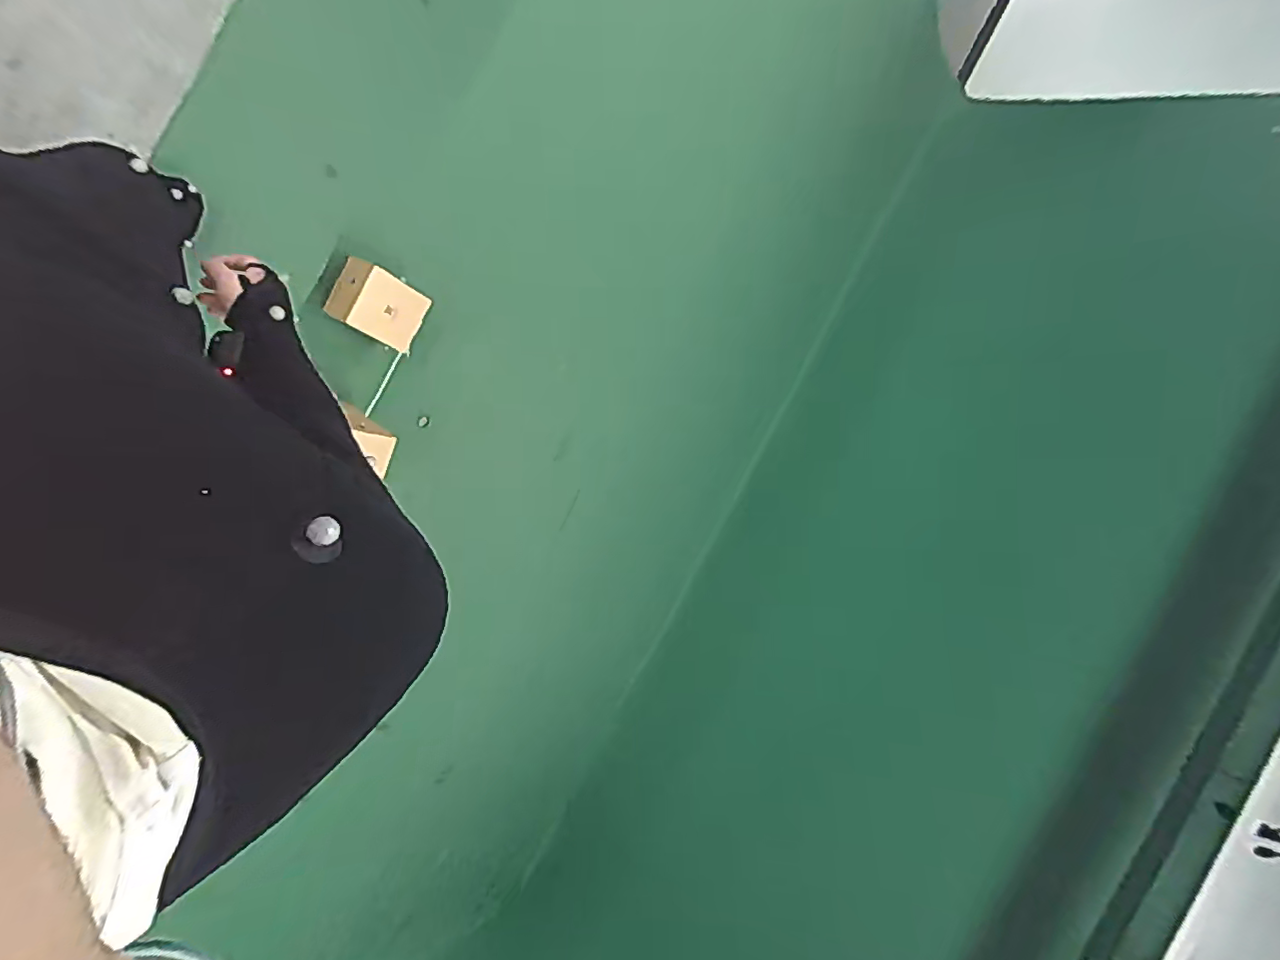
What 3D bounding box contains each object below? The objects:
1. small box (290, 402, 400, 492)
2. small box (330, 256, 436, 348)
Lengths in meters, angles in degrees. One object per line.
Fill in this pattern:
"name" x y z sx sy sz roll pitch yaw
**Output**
"small box" -0.755 -0.085 1.380 0.179 0.176 0.168 13 102 -51
"small box" -0.700 -0.484 1.464 0.179 0.176 0.168 27 92 -54
